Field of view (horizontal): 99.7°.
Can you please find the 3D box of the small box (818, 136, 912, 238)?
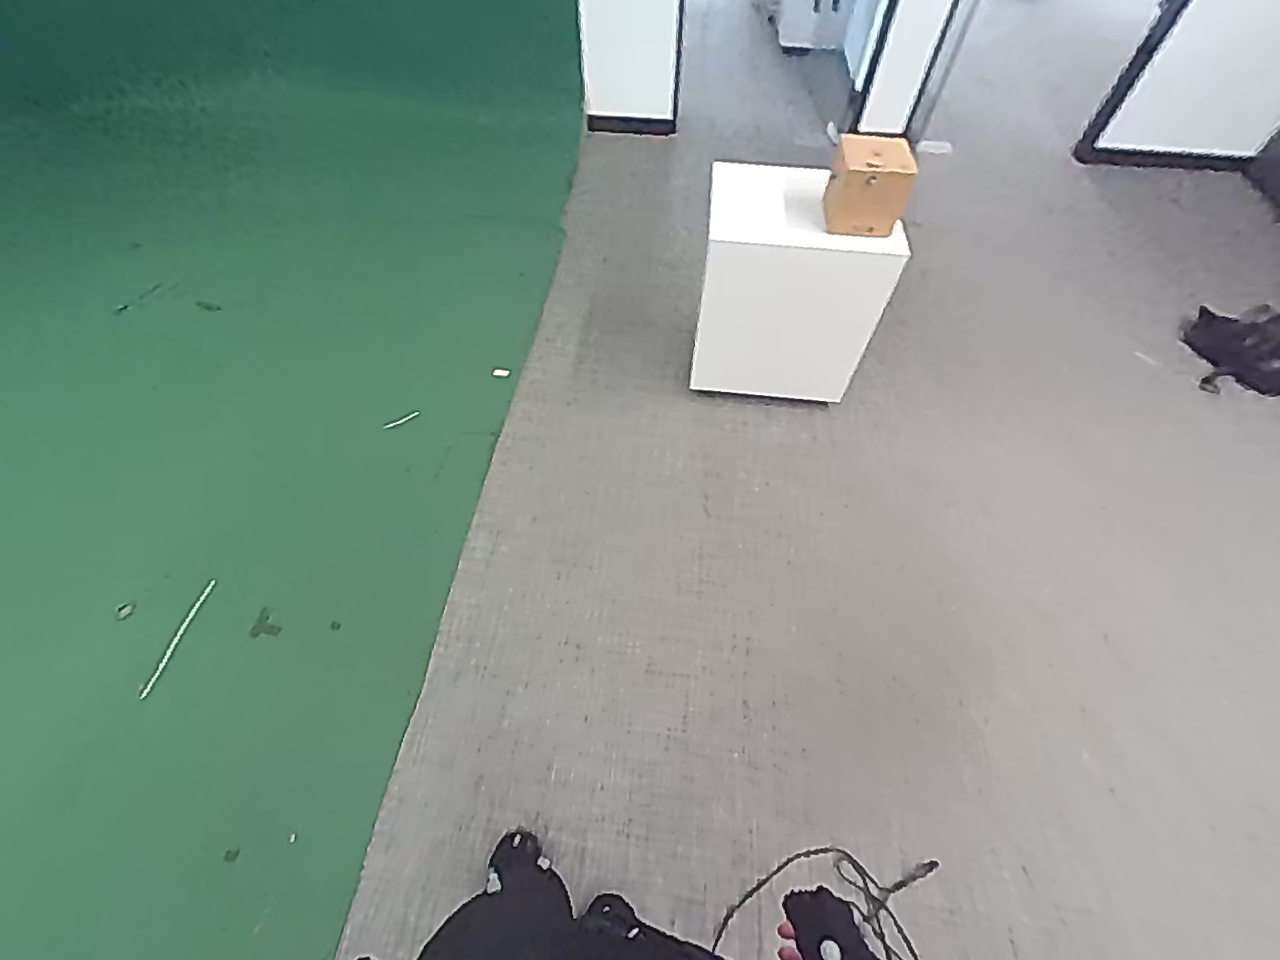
[{"bbox_3d":[0.566,-0.752,1.388,0.168,0.176,0.179,4,55,3],"label":"small box"}]
